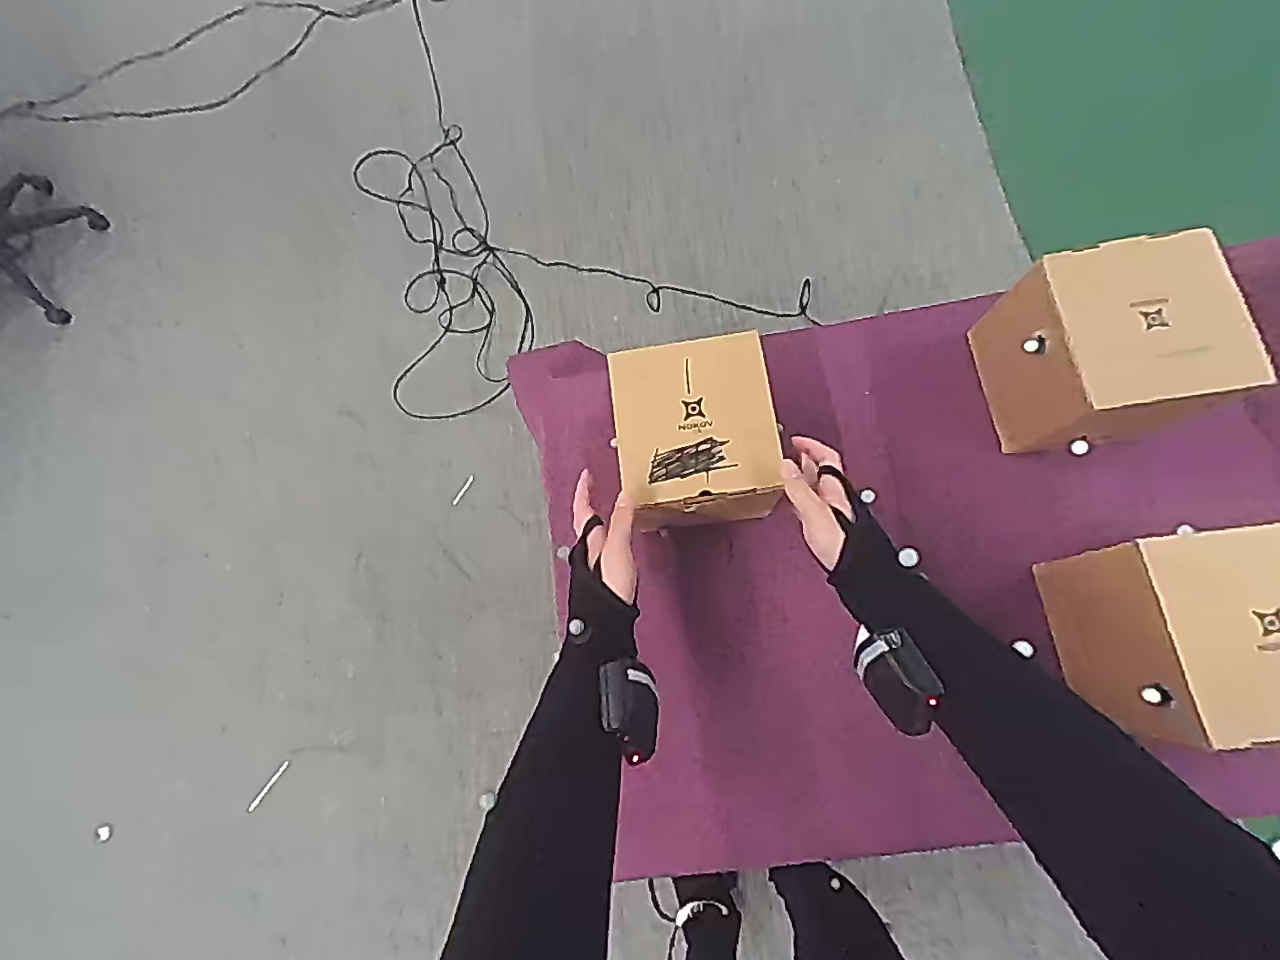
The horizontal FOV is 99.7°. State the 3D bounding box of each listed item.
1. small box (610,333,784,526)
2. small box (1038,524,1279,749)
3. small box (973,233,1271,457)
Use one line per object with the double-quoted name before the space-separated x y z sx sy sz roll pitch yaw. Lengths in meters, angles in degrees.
"small box" 0.065 -0.045 0.637 0.168 0.176 0.179 -8 75 4
"small box" 0.540 0.149 0.531 0.168 0.176 0.179 -7 74 5
"small box" 0.513 -0.140 0.611 0.168 0.176 0.179 -8 76 5
